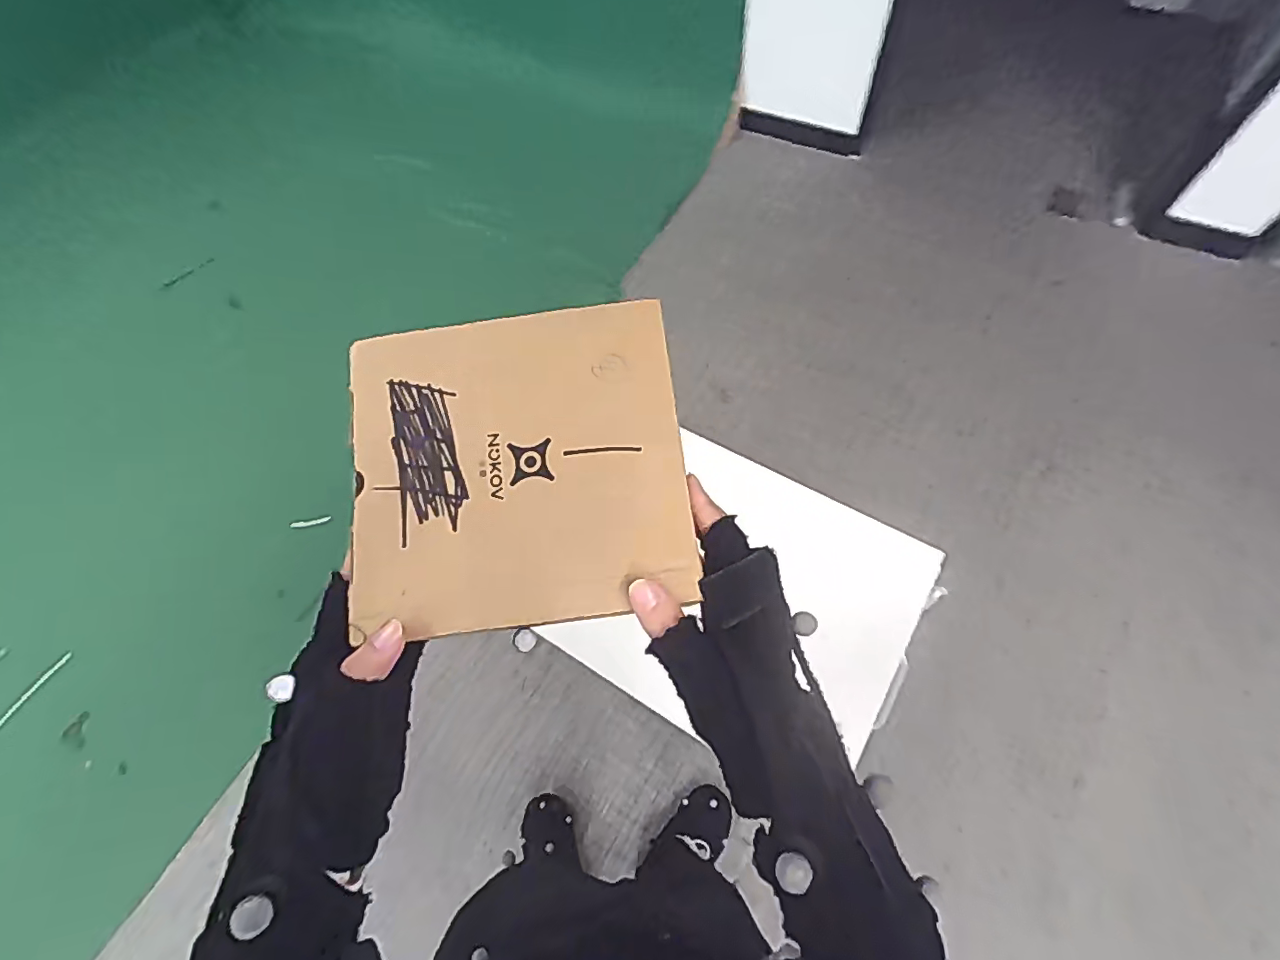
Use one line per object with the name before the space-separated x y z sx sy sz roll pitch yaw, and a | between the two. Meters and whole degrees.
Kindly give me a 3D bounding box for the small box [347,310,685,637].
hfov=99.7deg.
small box | -0.067 0.013 0.367 0.179 0.176 0.168 -8 75 1
